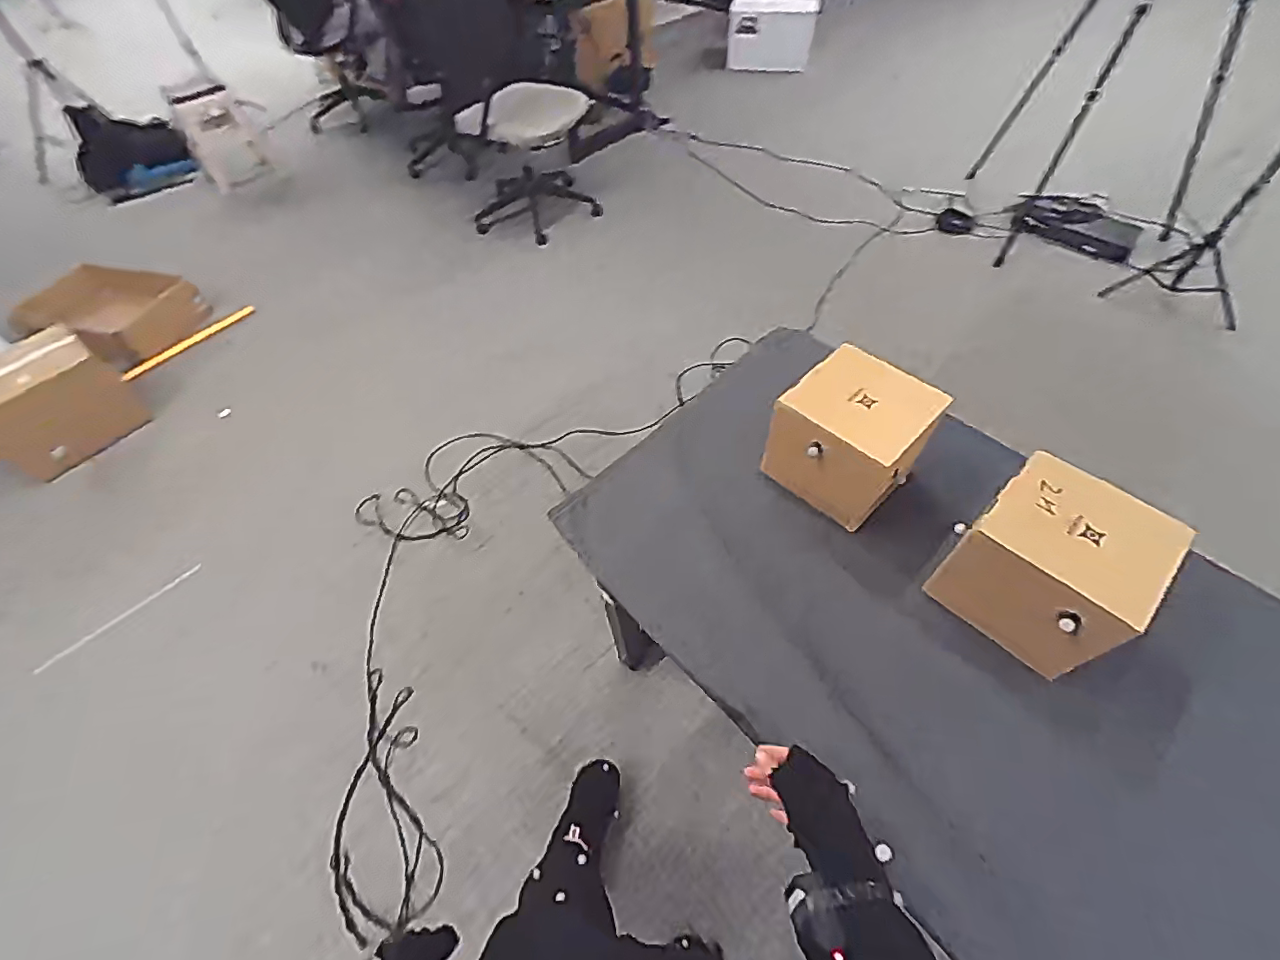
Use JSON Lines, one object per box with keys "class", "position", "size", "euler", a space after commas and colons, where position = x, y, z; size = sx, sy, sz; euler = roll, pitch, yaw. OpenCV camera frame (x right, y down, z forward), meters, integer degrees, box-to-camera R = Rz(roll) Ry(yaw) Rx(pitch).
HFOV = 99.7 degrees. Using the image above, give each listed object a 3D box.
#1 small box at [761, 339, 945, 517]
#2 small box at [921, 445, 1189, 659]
{"class": "small box", "position": [0.303, -0.069, 0.805], "size": [0.168, 0.176, 0.179], "euler": [-40, 60, -22]}
{"class": "small box", "position": [0.493, 0.097, 0.668], "size": [0.168, 0.176, 0.179], "euler": [-40, 61, -22]}
